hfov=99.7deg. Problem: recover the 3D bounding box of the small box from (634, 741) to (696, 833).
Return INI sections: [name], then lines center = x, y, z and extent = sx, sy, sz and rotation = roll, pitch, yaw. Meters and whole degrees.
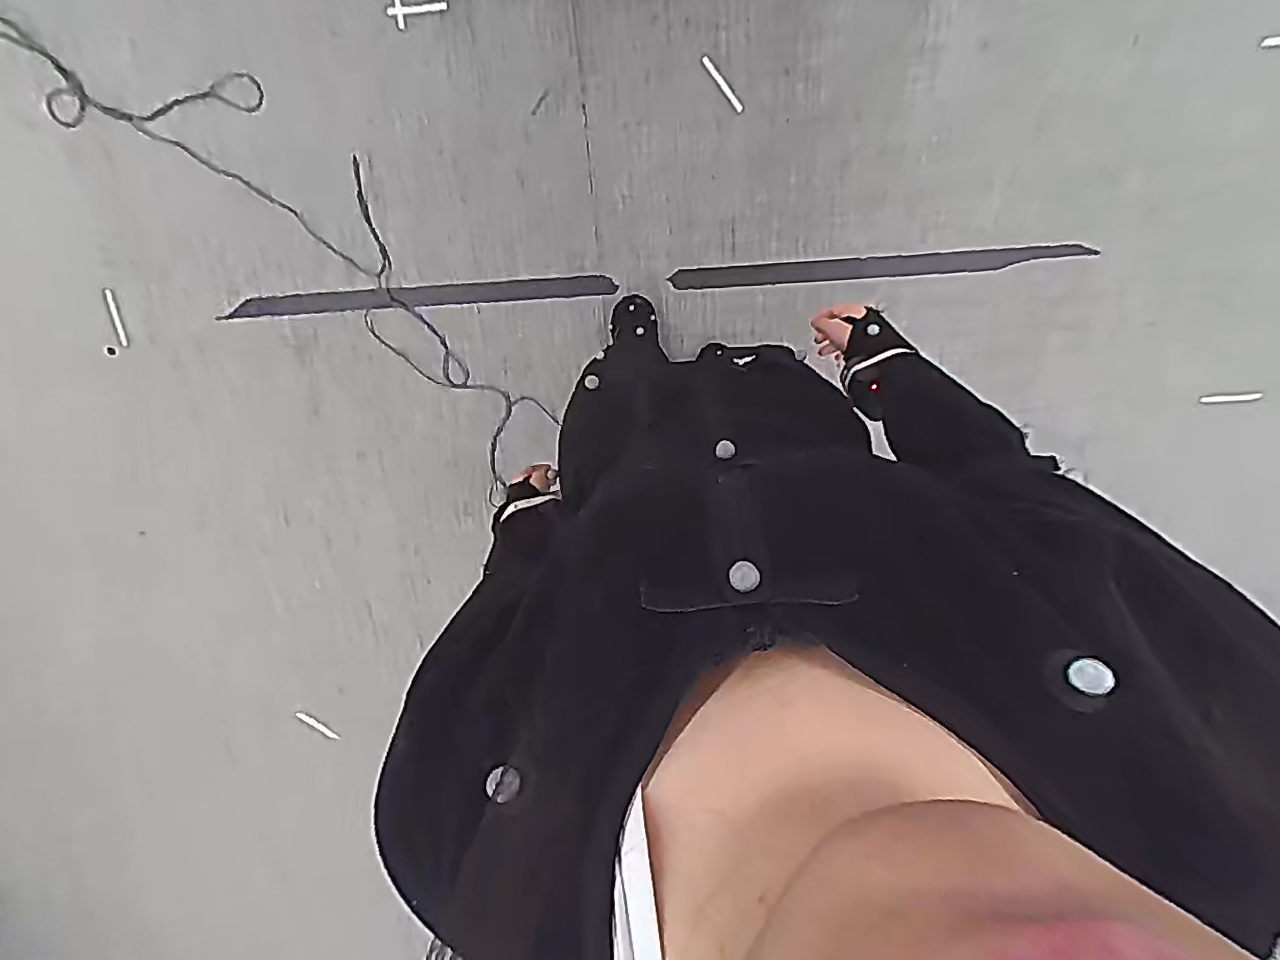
[small box]
center = 0.076, 0.949, 1.678
extent = 0.168, 0.176, 0.179
rotation = -10, 107, 2
